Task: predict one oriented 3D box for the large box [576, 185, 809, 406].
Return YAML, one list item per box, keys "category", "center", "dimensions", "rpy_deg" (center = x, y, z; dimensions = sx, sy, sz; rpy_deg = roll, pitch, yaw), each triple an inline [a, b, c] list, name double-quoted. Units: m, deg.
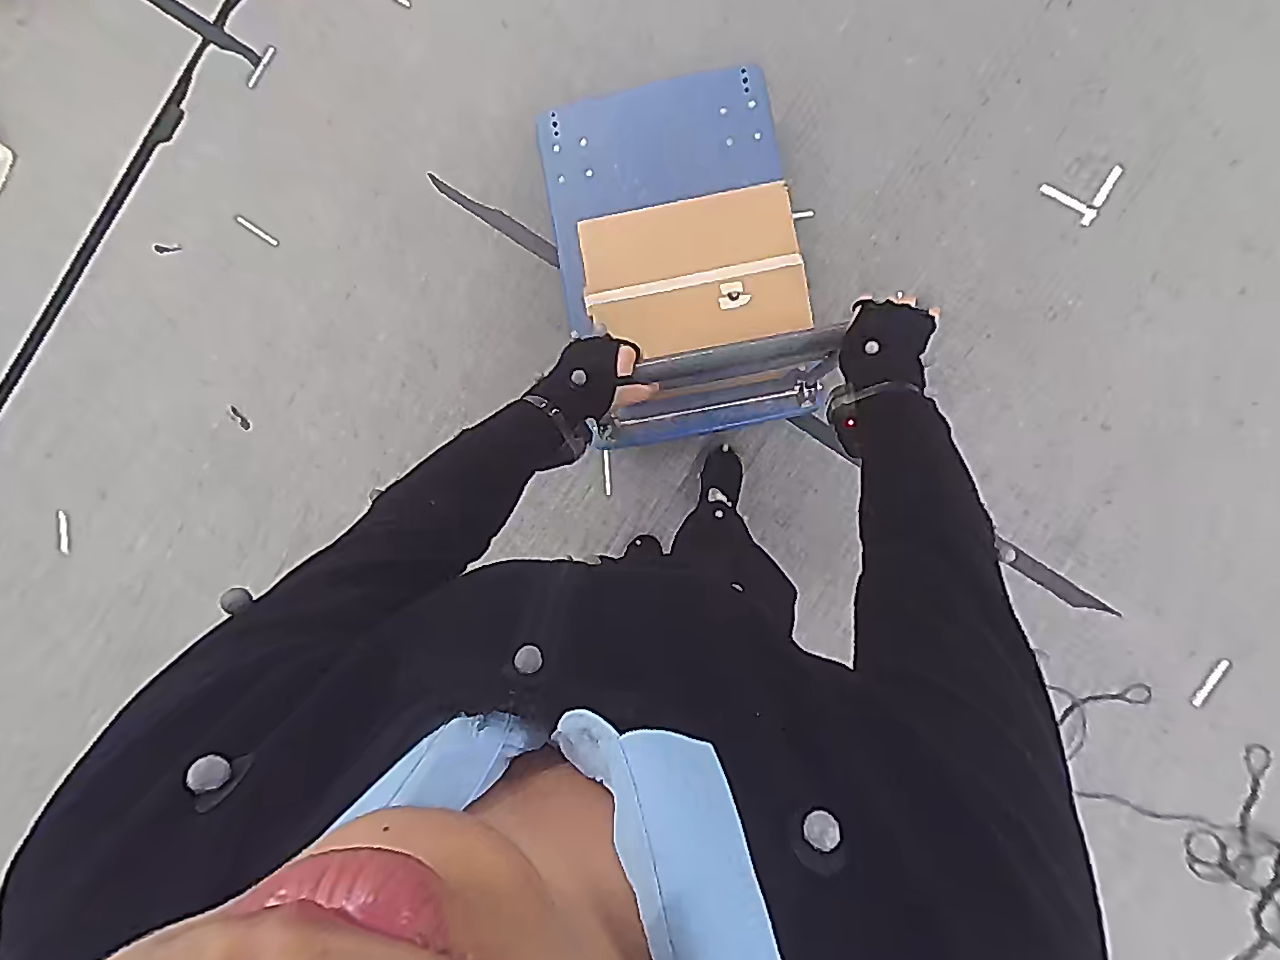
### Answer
- category: "large box"
  center: [0.102, -0.368, 1.171]
  dimensions: [0.408, 0.320, 0.320]
  rpy_deg: [-10, 89, 2]
